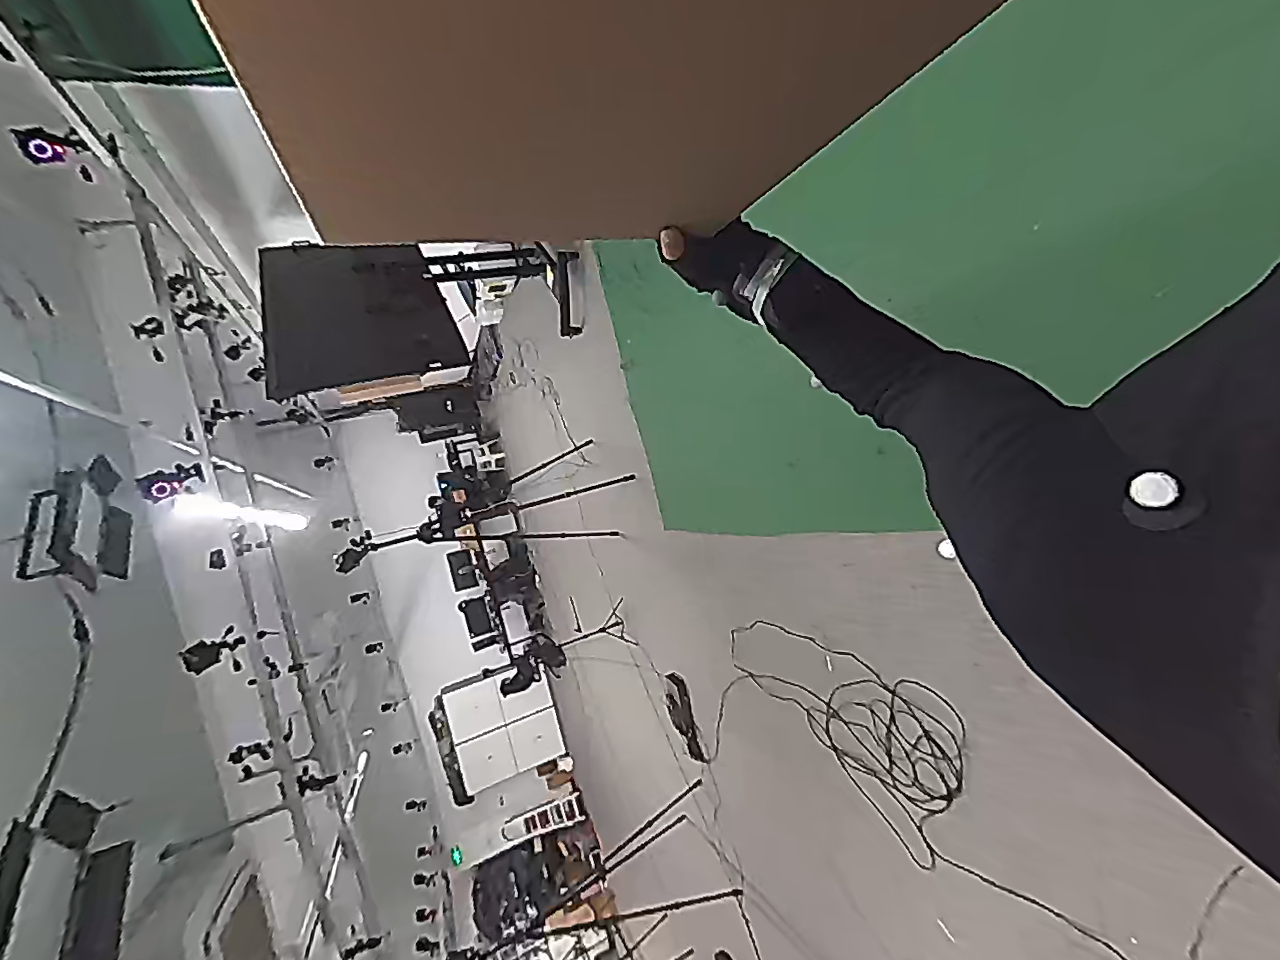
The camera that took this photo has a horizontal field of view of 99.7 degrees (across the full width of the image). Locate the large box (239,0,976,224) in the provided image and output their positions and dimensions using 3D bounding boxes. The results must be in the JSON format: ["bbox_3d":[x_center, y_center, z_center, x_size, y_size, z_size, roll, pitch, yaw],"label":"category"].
[{"bbox_3d":[-0.020,-0.341,0.220,0.408,0.320,0.320,-177,76,-68],"label":"large box"}]
